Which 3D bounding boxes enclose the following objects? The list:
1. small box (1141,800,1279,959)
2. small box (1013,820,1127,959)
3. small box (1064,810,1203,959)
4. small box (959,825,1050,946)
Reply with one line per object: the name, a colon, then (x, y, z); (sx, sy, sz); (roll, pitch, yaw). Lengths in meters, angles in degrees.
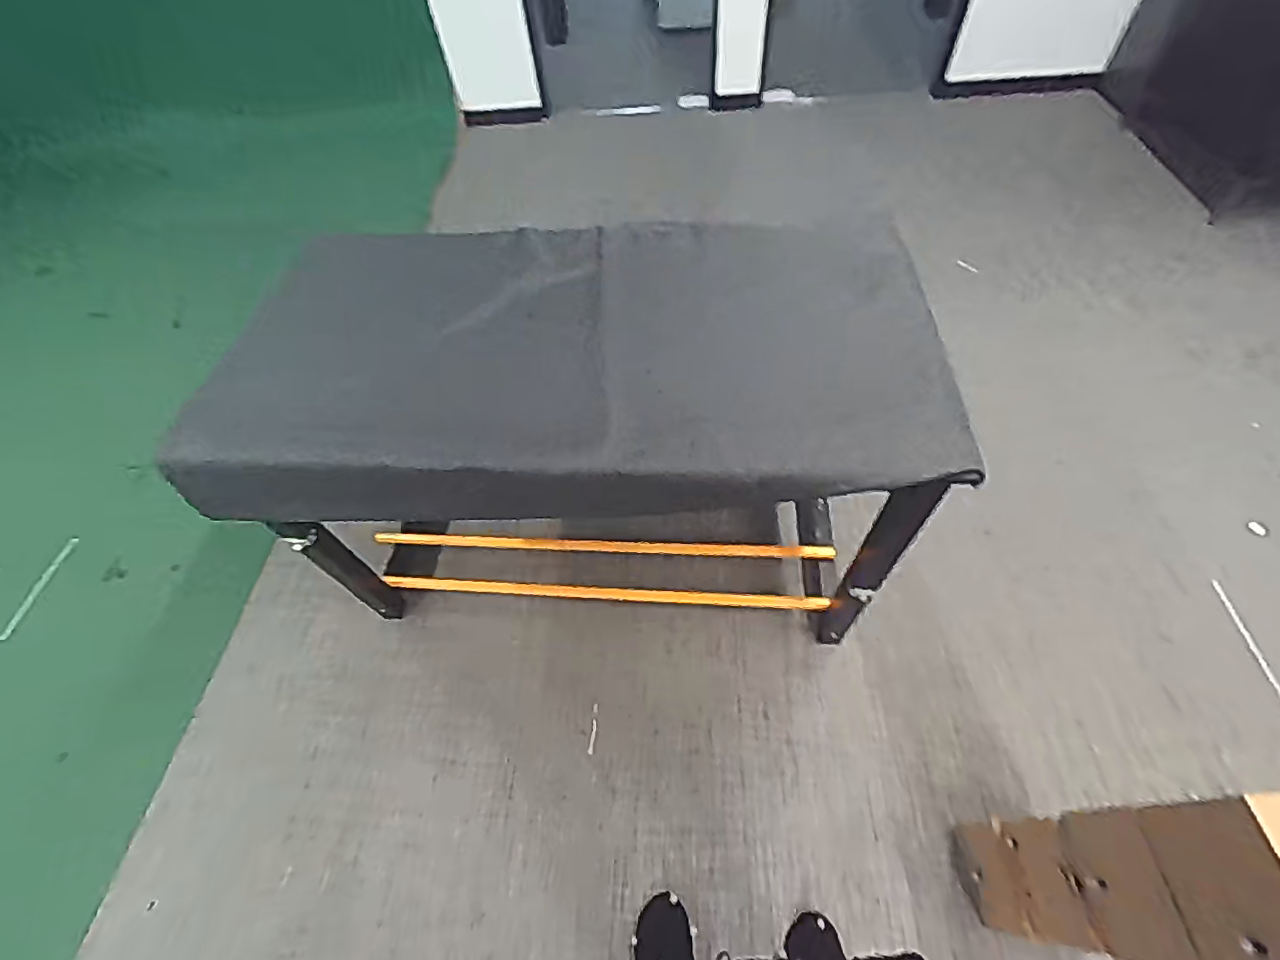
small box: (0.703, 0.442, 0.567); (0.168, 0.176, 0.179); (-2, 55, 3)
small box: (0.719, 0.628, 0.836); (0.179, 0.176, 0.168); (-2, 55, 2)
small box: (0.712, 0.534, 0.702); (0.168, 0.176, 0.179); (-2, 56, 3)
small box: (0.719, 0.720, 0.972); (0.179, 0.176, 0.168); (-4, 54, 3)
